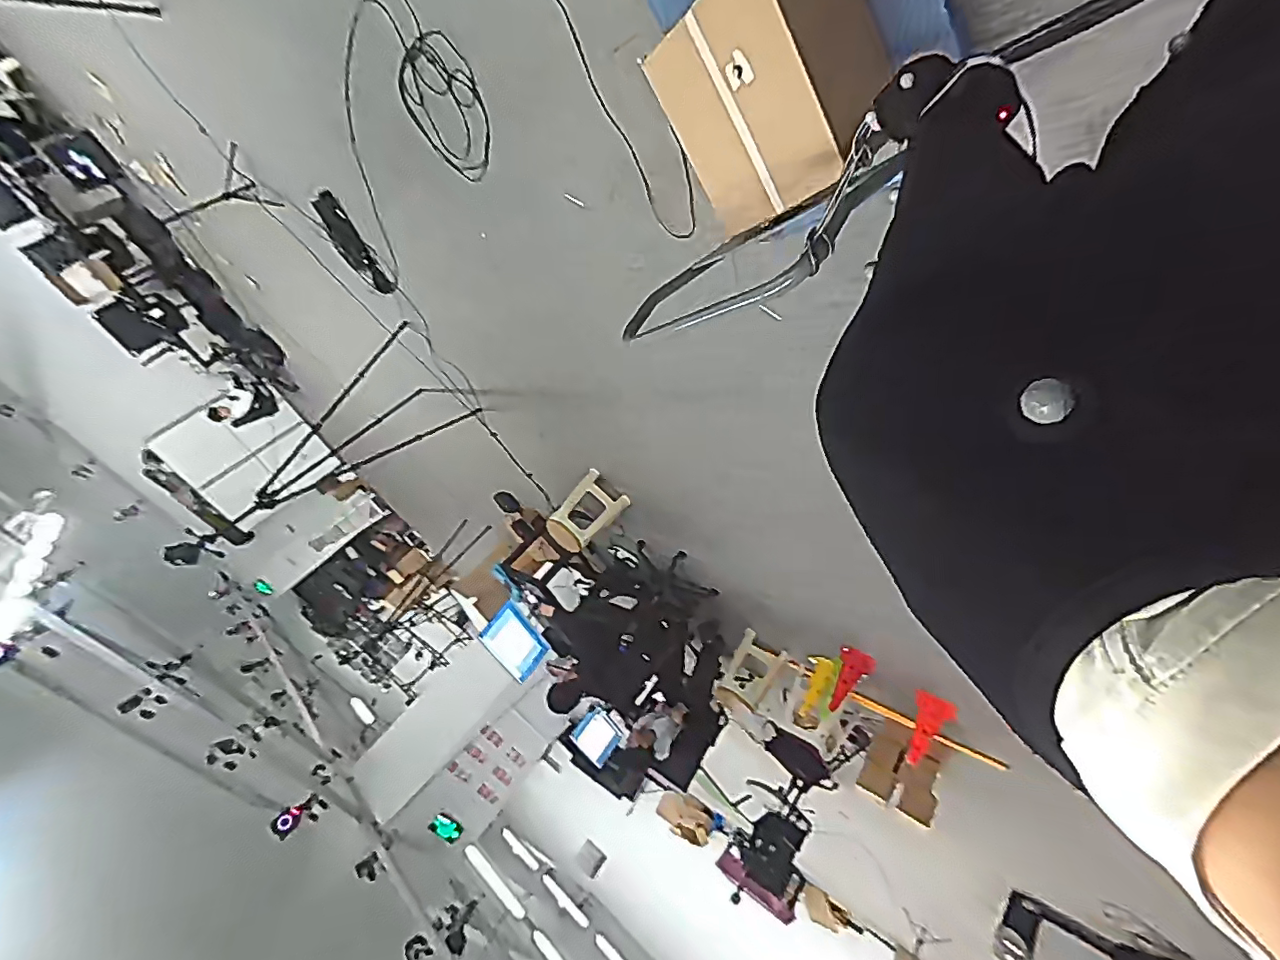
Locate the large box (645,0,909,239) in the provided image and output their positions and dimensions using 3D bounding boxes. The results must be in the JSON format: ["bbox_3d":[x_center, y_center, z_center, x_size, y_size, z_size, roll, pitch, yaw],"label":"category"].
[{"bbox_3d":[0.294,-0.809,1.136,0.320,0.320,0.408,-4,126,54],"label":"large box"}]
